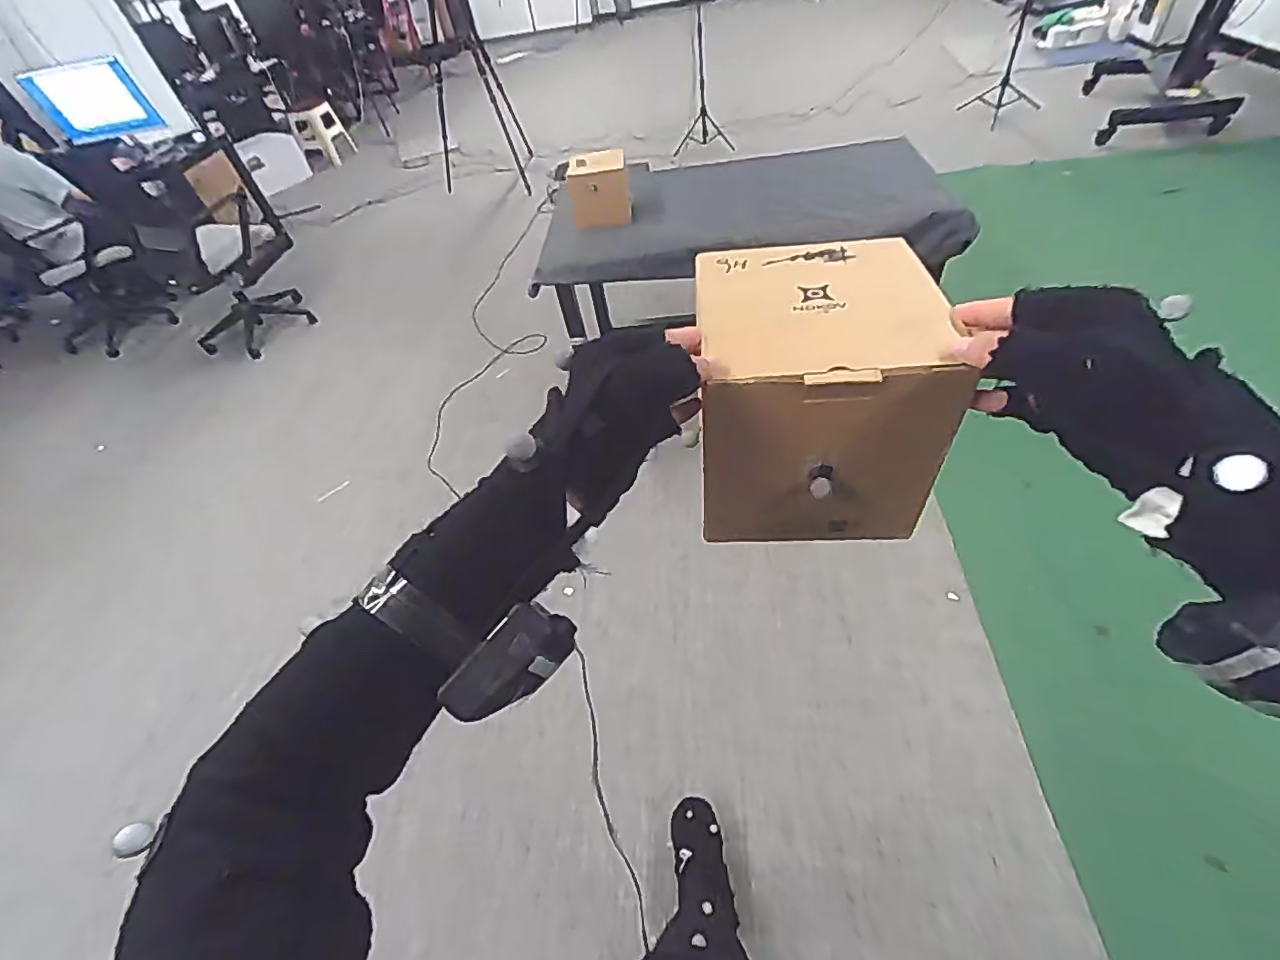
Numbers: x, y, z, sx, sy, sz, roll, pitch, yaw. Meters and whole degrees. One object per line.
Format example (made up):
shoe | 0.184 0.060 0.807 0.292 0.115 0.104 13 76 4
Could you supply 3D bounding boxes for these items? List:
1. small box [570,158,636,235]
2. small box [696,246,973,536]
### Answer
small box | -0.112 -0.898 1.721 0.179 0.176 0.168 -5 48 5
small box | 0.133 -0.066 0.444 0.168 0.176 0.179 -2 47 6
